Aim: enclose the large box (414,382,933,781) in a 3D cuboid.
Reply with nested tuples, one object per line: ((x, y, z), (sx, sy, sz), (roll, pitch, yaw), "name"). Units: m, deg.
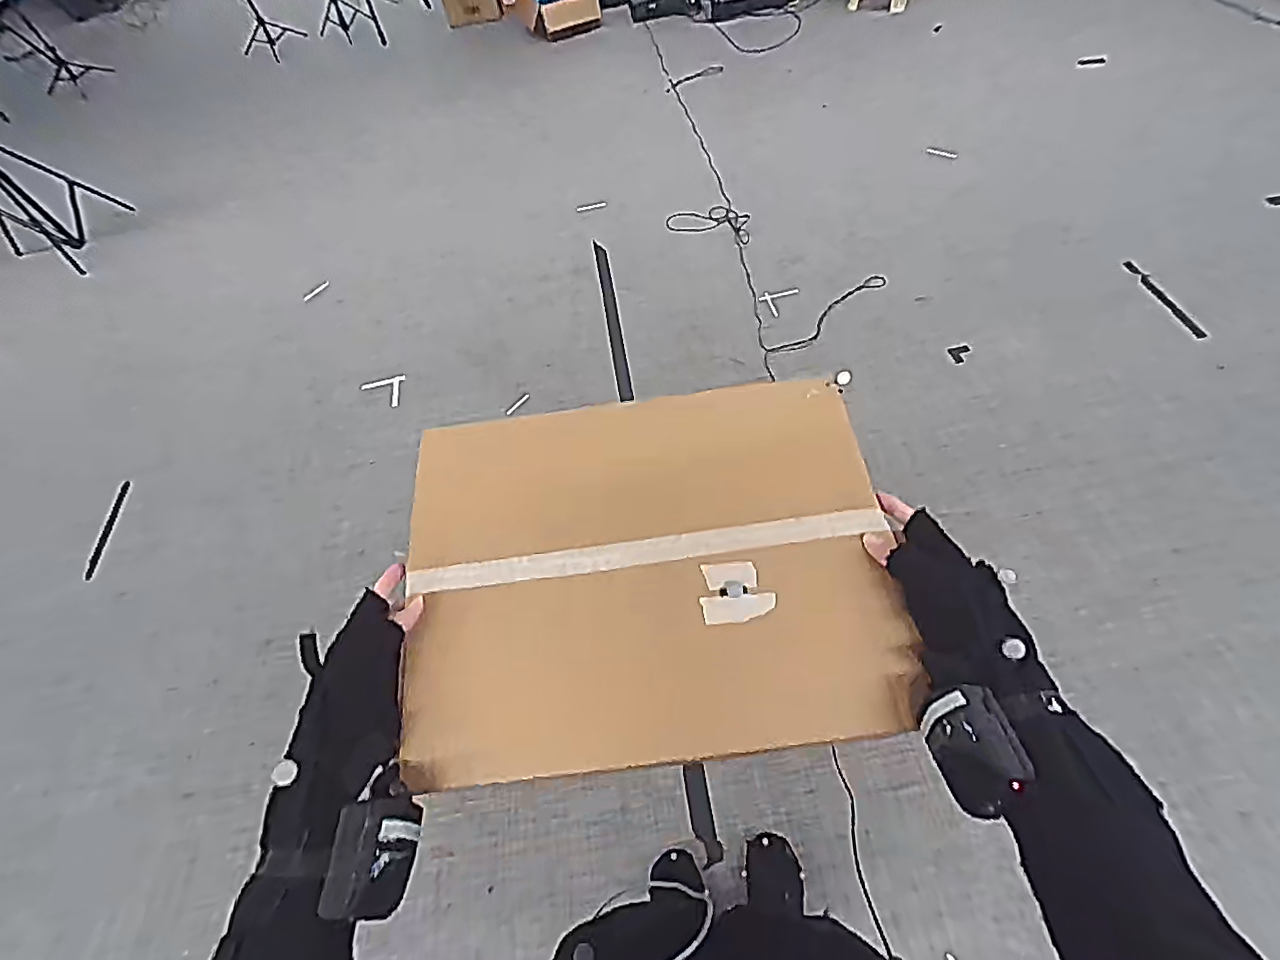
((0.015, 0.131, 0.603), (0.408, 0.320, 0.320), (-7, 63, 0), "large box")
